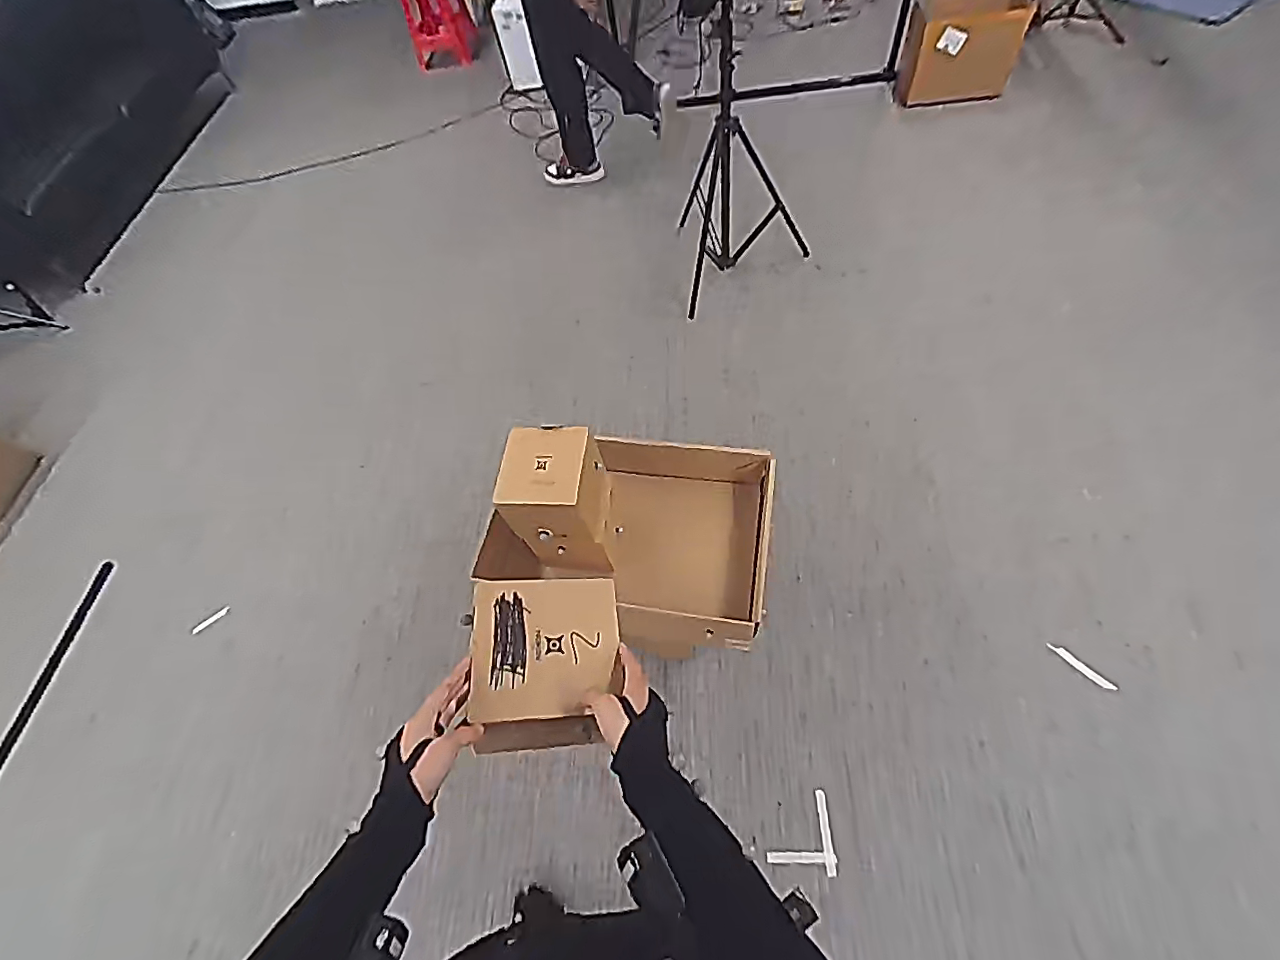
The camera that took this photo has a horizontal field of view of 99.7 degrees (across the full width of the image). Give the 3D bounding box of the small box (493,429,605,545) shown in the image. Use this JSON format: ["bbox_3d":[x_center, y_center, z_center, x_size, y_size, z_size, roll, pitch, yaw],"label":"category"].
[{"bbox_3d":[-0.173,0.015,1.097,0.168,0.176,0.179,1,59,10],"label":"small box"}]

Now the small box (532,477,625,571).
[{"bbox_3d":[-0.142,0.100,1.234,0.179,0.176,0.168,4,61,10],"label":"small box"}]
